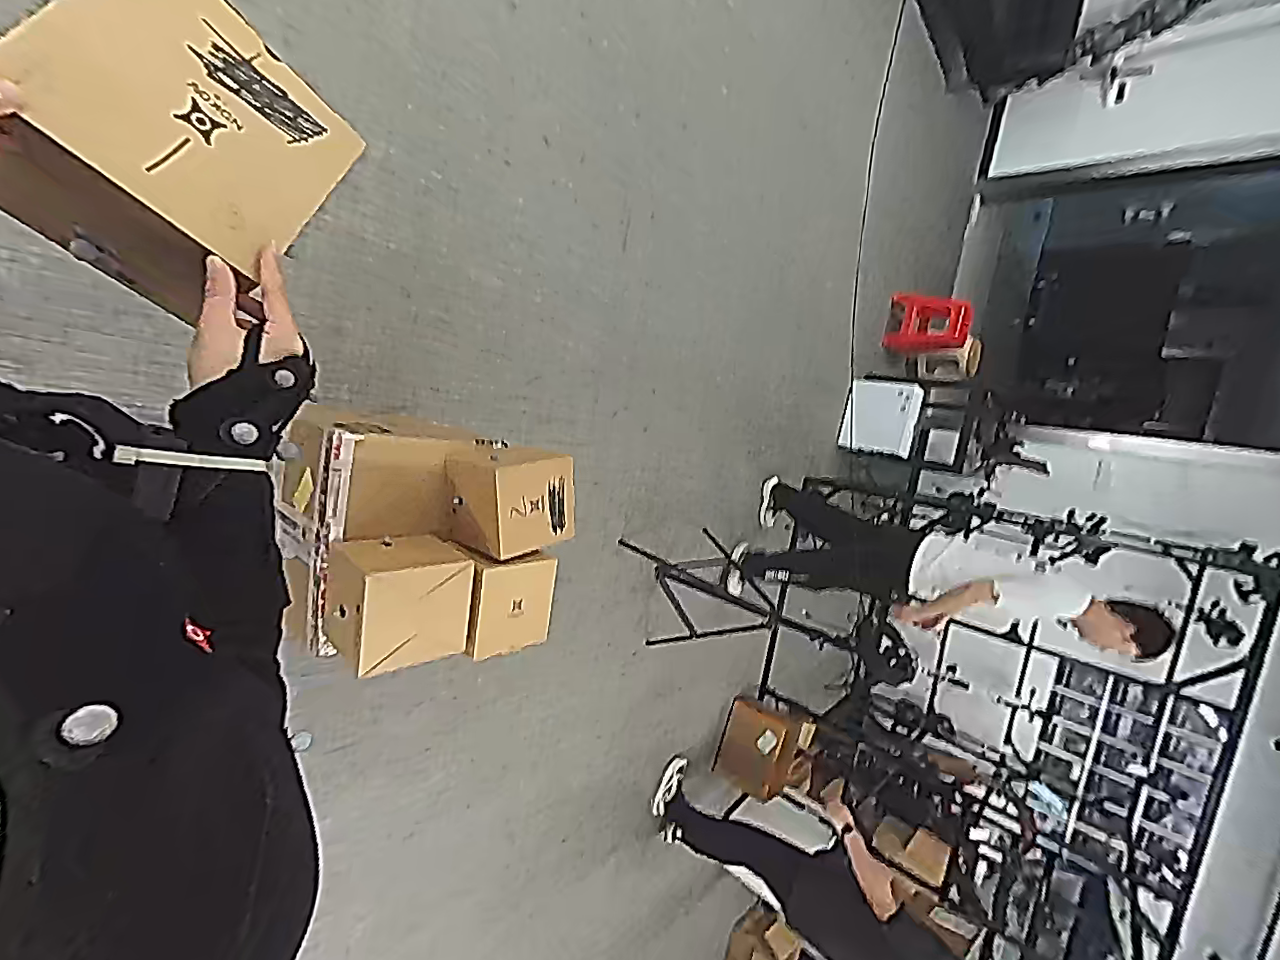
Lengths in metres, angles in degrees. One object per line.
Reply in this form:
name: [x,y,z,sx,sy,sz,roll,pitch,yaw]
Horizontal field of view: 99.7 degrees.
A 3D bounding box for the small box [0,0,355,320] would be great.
small box: [-0.383,-0.261,0.441,0.168,0.176,0.179,42,57,-43]
